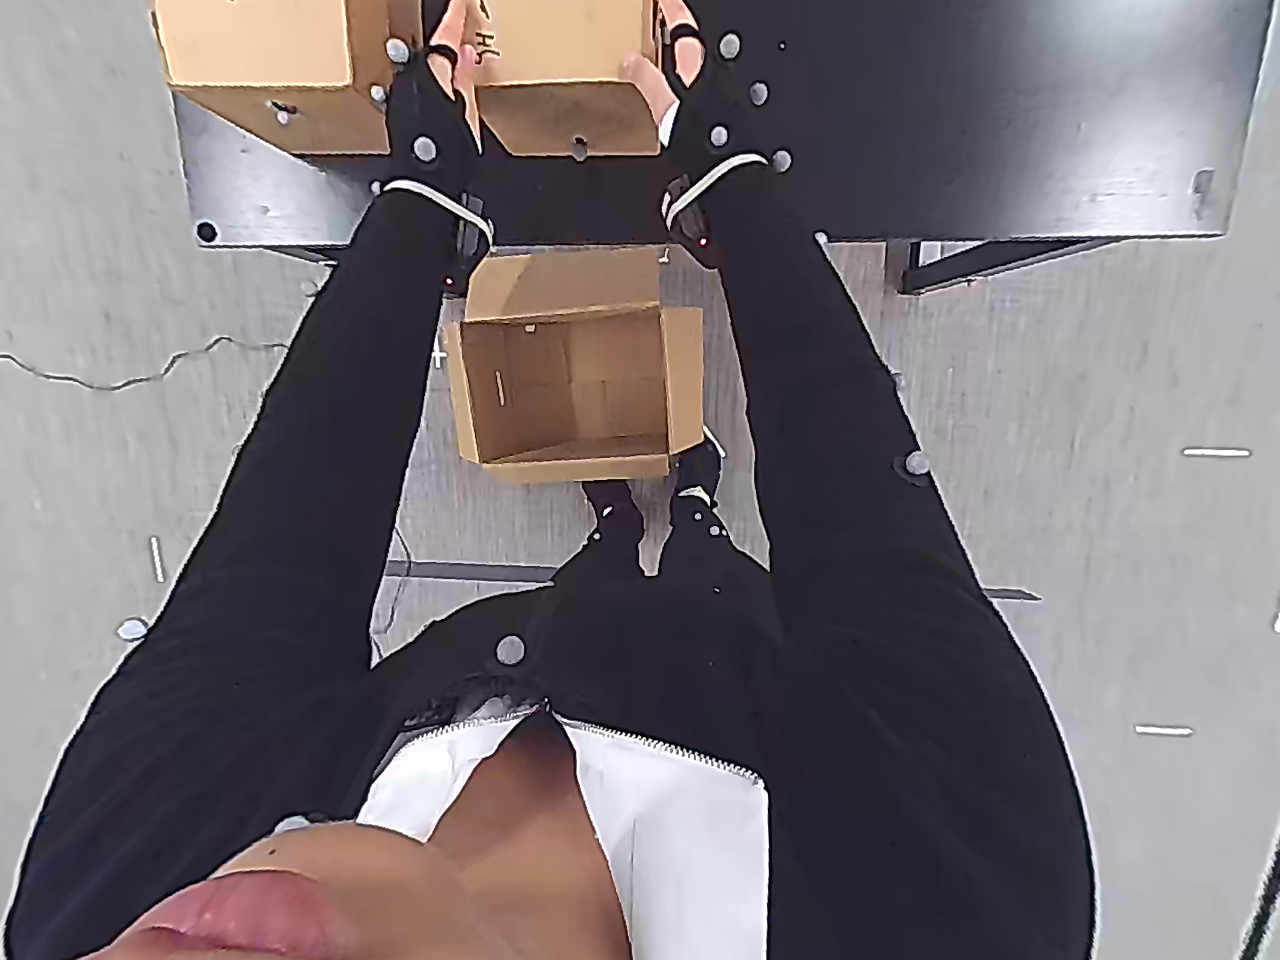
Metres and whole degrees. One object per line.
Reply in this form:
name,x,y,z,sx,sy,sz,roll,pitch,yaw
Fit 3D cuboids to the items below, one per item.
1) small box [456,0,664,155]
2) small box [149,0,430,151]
small box,-0.066,-0.435,0.523,0.179,0.176,0.168,1,102,2
small box,-0.331,-0.443,0.533,0.179,0.176,0.168,1,104,1
